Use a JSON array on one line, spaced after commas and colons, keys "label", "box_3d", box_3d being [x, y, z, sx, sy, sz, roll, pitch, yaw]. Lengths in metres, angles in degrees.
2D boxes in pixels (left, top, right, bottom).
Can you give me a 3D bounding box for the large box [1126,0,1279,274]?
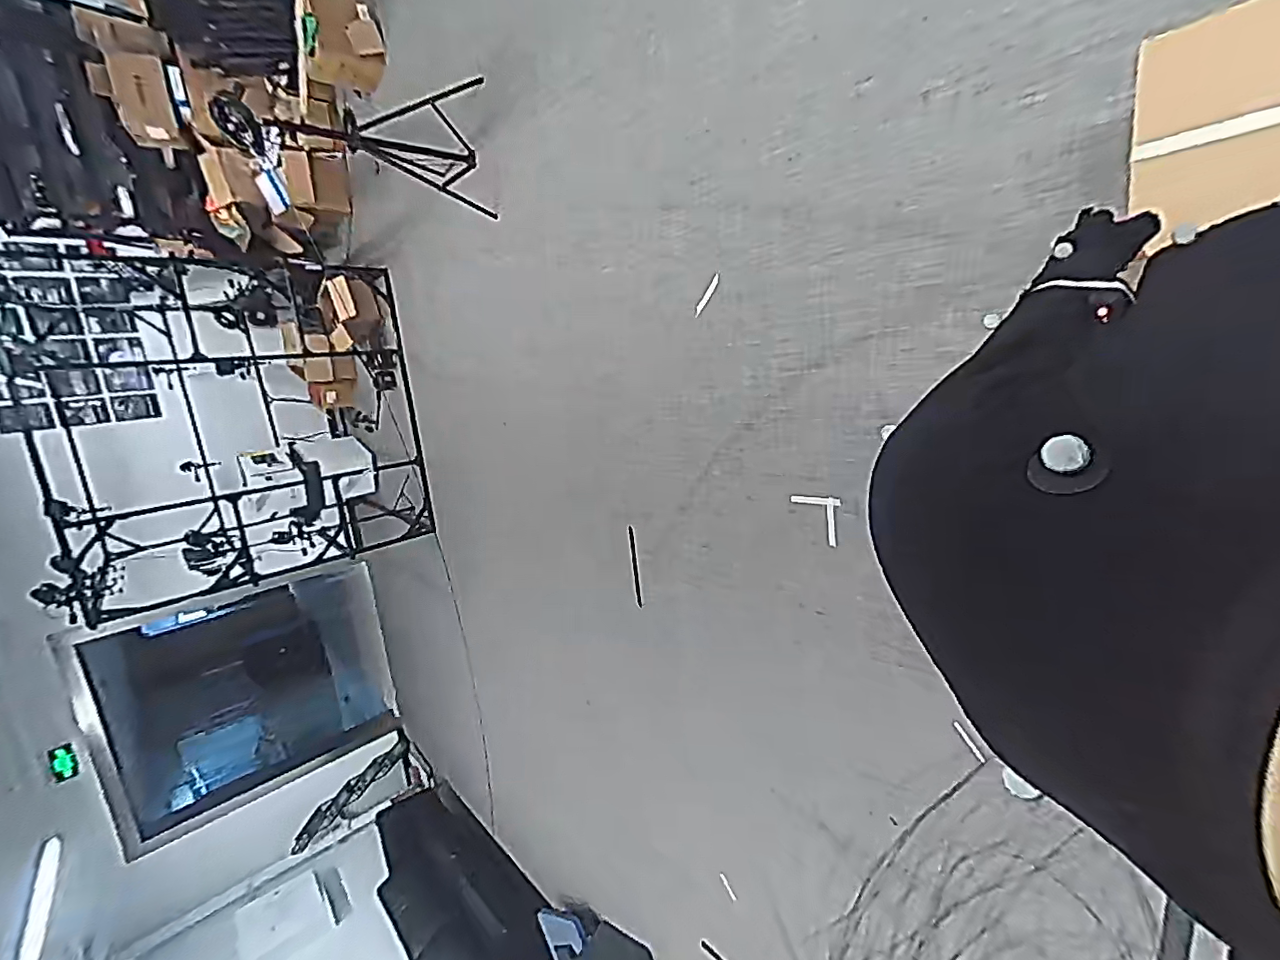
[{"label": "large box", "box_3d": [1.014, -0.515, 0.803, 0.408, 0.320, 0.320, 7, 106, 48]}]
